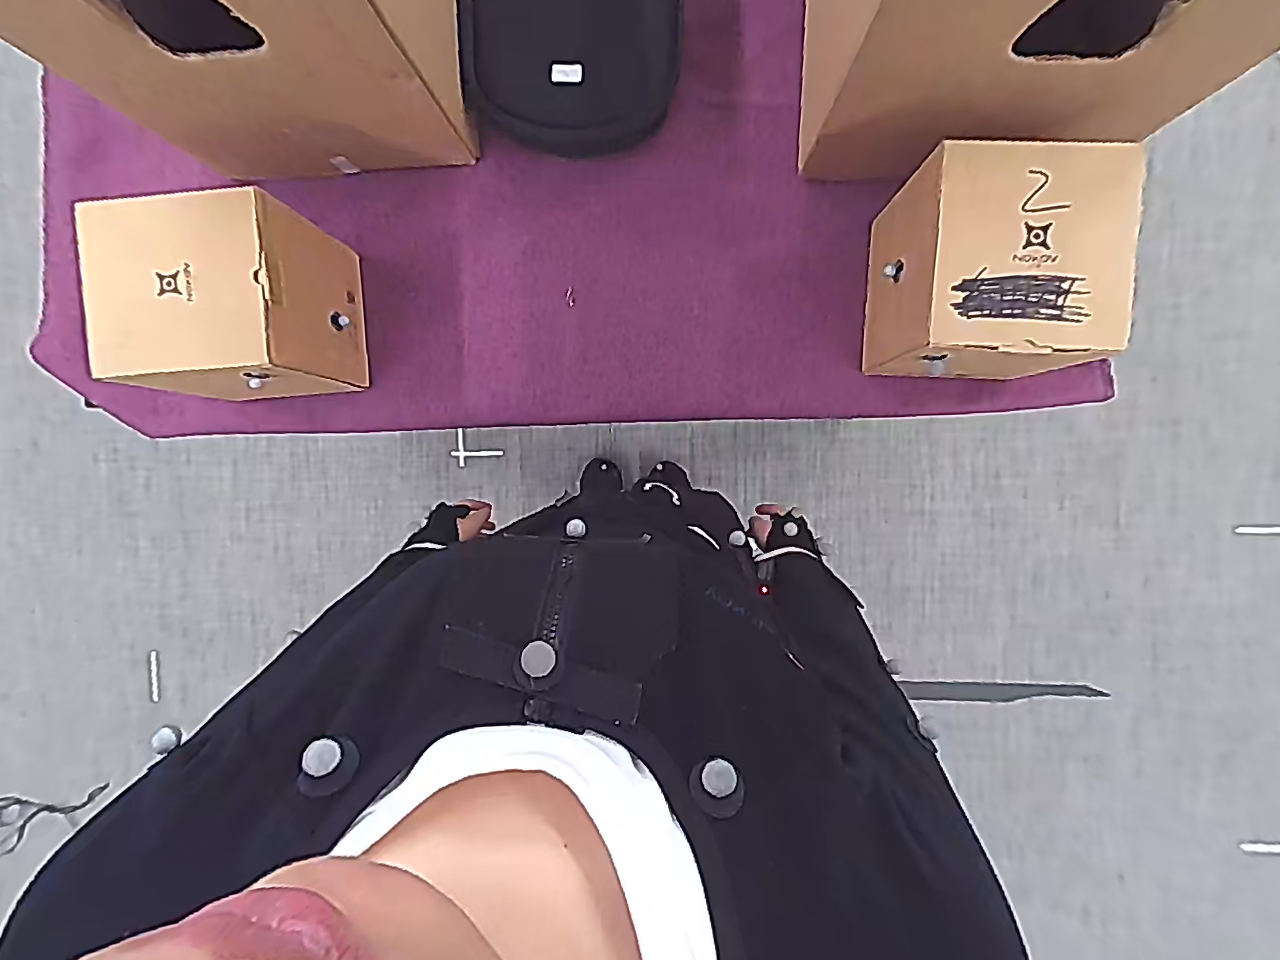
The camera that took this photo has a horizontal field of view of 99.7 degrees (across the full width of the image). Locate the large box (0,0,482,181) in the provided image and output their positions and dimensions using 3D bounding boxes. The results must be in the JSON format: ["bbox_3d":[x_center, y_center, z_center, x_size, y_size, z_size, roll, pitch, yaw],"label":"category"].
[{"bbox_3d":[-0.355,-0.556,0.491,0.320,0.320,0.408,-3,95,3],"label":"large box"}]

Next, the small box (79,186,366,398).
[{"bbox_3d":[-0.427,-0.184,0.580,0.179,0.176,0.168,-5,91,2],"label":"small box"}]
